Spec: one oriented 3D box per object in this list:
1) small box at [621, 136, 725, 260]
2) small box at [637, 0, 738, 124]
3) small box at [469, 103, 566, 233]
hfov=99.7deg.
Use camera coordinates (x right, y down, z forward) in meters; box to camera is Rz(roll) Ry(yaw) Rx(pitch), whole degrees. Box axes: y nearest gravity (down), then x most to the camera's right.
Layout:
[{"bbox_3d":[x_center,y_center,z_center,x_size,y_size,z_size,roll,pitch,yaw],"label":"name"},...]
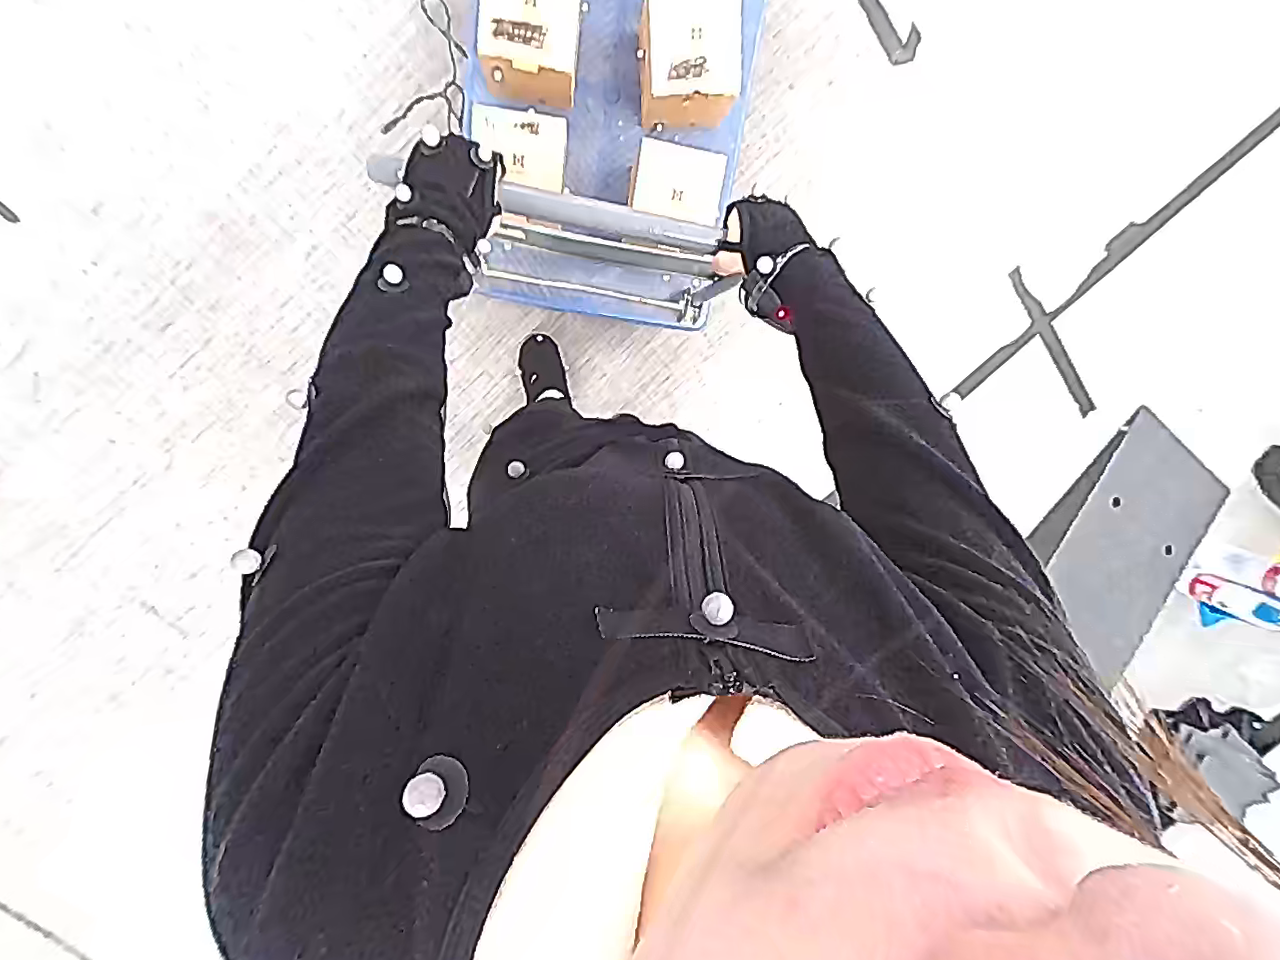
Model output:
[{"bbox_3d":[0.058,-0.562,1.106,0.168,0.176,0.179,8,103,-10],"label":"small box"},{"bbox_3d":[0.087,-0.810,1.042,0.168,0.176,0.179,-4,105,-6],"label":"small box"},{"bbox_3d":[-0.234,-0.595,1.057,0.168,0.176,0.179,4,105,-9],"label":"small box"}]
